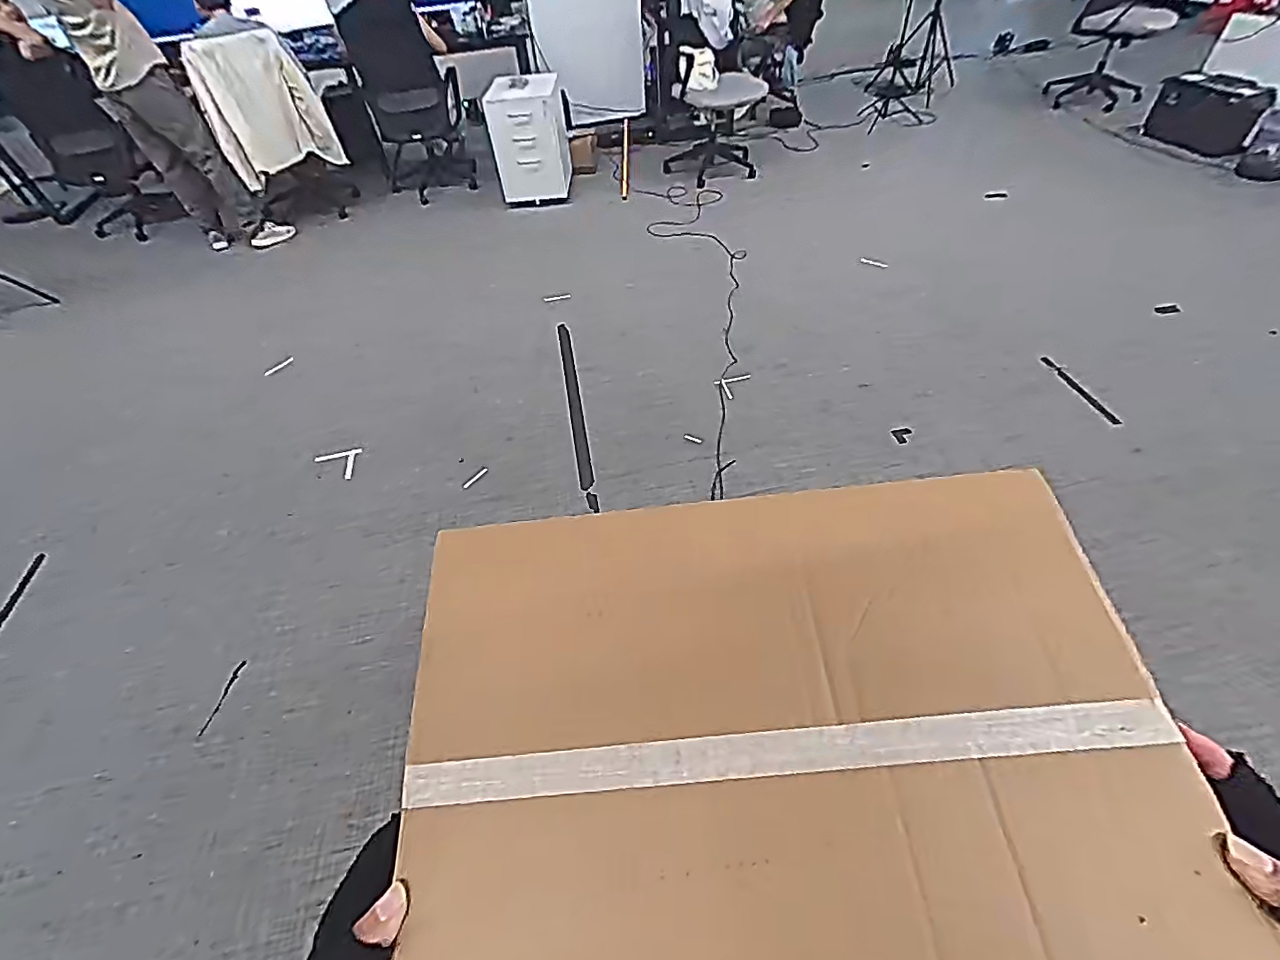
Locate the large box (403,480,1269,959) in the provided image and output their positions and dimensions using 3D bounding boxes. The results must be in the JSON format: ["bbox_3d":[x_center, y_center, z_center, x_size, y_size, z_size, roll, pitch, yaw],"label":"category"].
[{"bbox_3d":[0.087,0.230,0.424,0.408,0.320,0.320,-7,59,3],"label":"large box"}]
